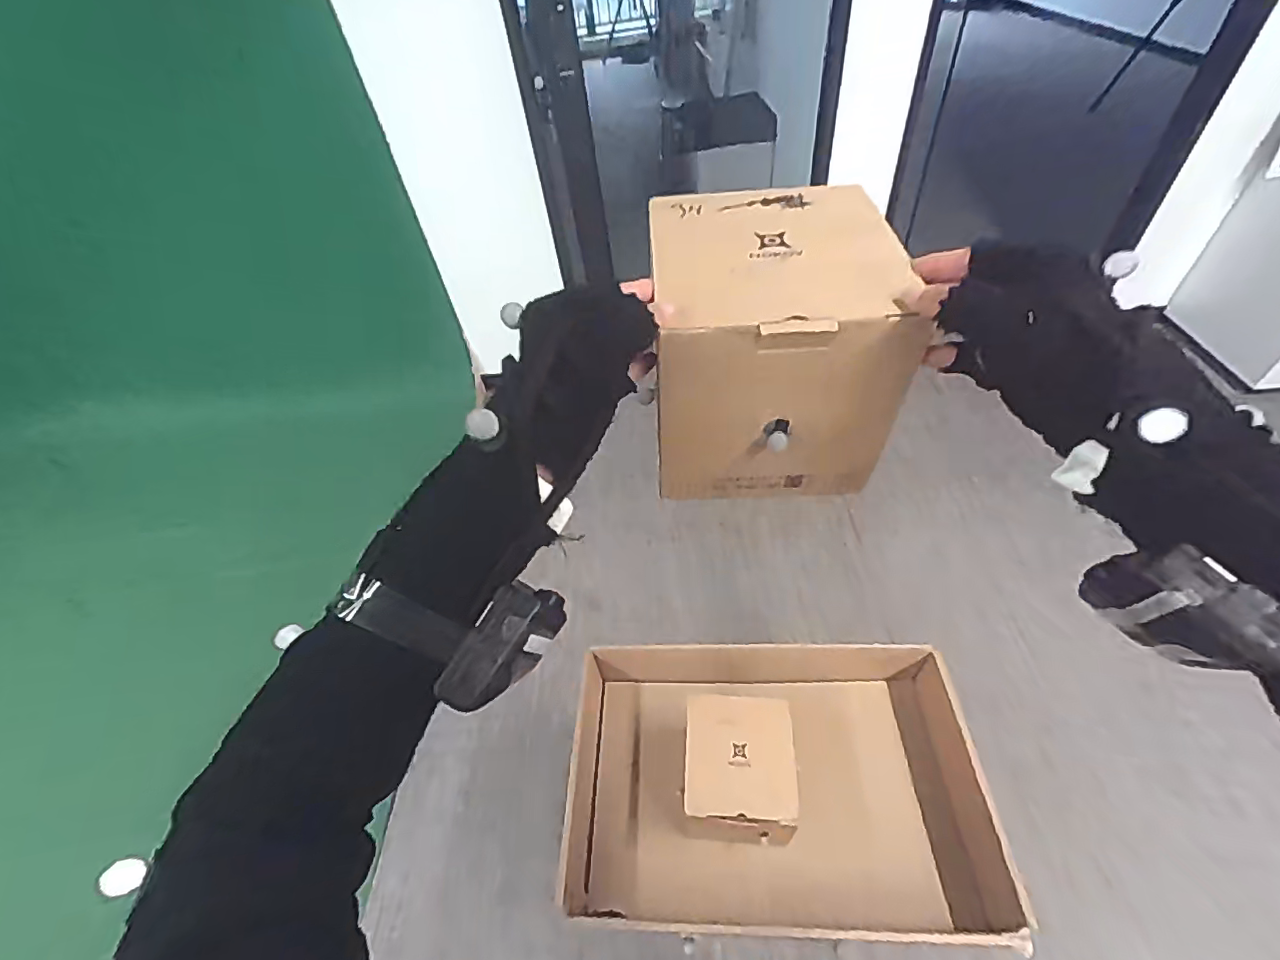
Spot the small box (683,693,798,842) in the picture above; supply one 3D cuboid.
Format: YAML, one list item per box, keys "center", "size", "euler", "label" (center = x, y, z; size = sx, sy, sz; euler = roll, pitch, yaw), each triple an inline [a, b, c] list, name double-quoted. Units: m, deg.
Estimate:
- center: [0.156, 0.470, 0.881]
  size: [0.168, 0.176, 0.179]
  euler: [1, 46, 5]
  label: "small box"

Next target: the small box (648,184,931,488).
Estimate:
- center: [0.094, -0.104, 0.429]
  size: [0.168, 0.176, 0.179]
  euler: [-3, 51, 2]
  label: "small box"
